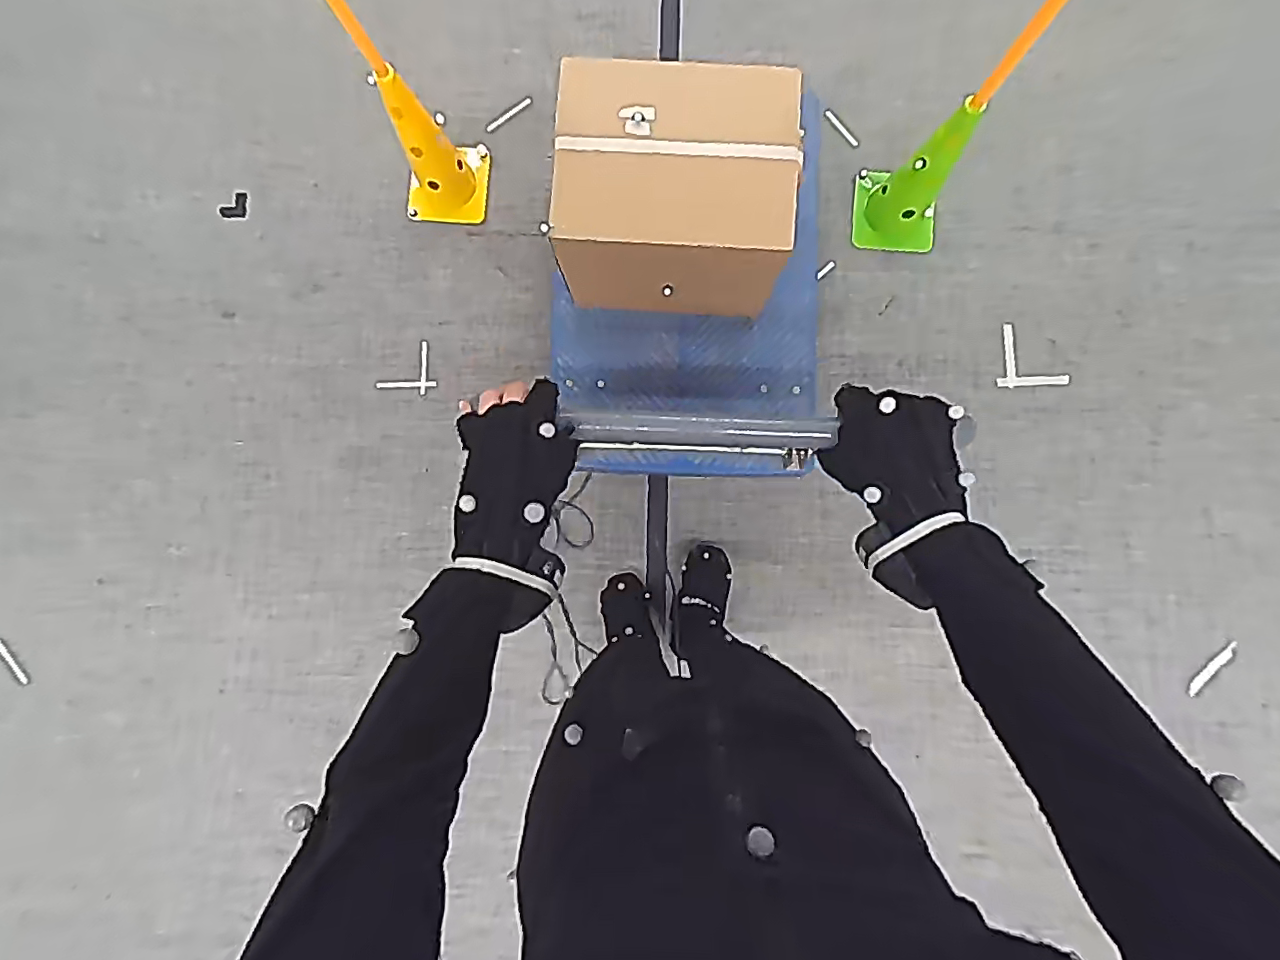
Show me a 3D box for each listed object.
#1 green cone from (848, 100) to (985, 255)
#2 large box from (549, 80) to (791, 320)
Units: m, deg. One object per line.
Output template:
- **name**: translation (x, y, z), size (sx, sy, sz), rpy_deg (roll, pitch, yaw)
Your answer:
- **green cone**: translation (0.629, -0.684, 1.198), size (0.202, 0.368, 0.200), rpy_deg (5, 86, 1)
- **large box**: translation (0.059, -0.517, 1.060), size (0.408, 0.320, 0.320), rpy_deg (4, 87, 2)
